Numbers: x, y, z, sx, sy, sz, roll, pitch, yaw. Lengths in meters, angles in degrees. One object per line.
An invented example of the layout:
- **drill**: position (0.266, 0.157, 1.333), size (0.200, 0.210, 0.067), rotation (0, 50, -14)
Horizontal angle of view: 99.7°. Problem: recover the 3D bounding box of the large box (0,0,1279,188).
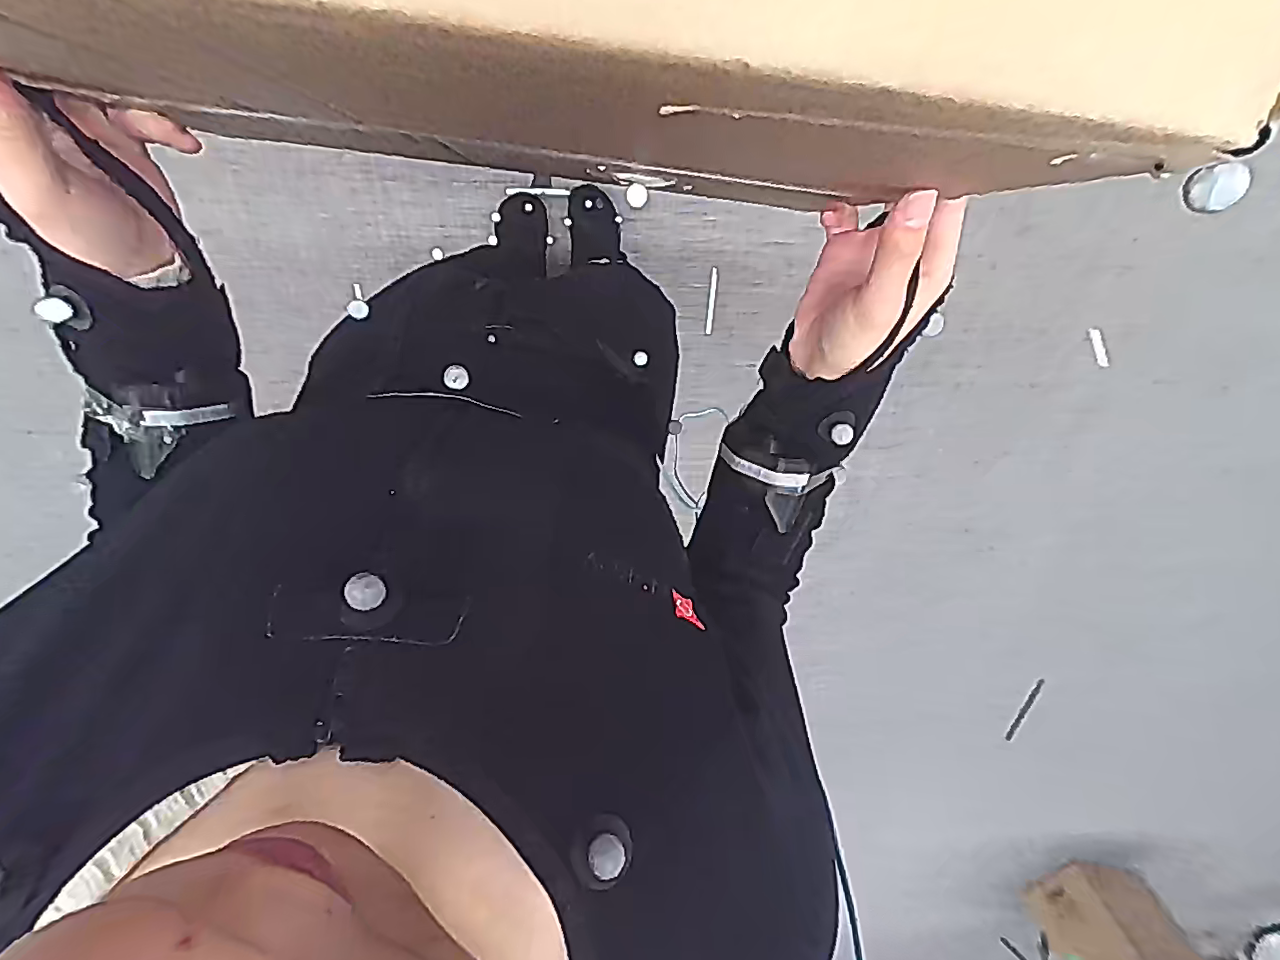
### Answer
- **large box**: position (-0.047, -0.300, 0.174), size (0.408, 0.320, 0.320), rotation (4, 115, -6)
